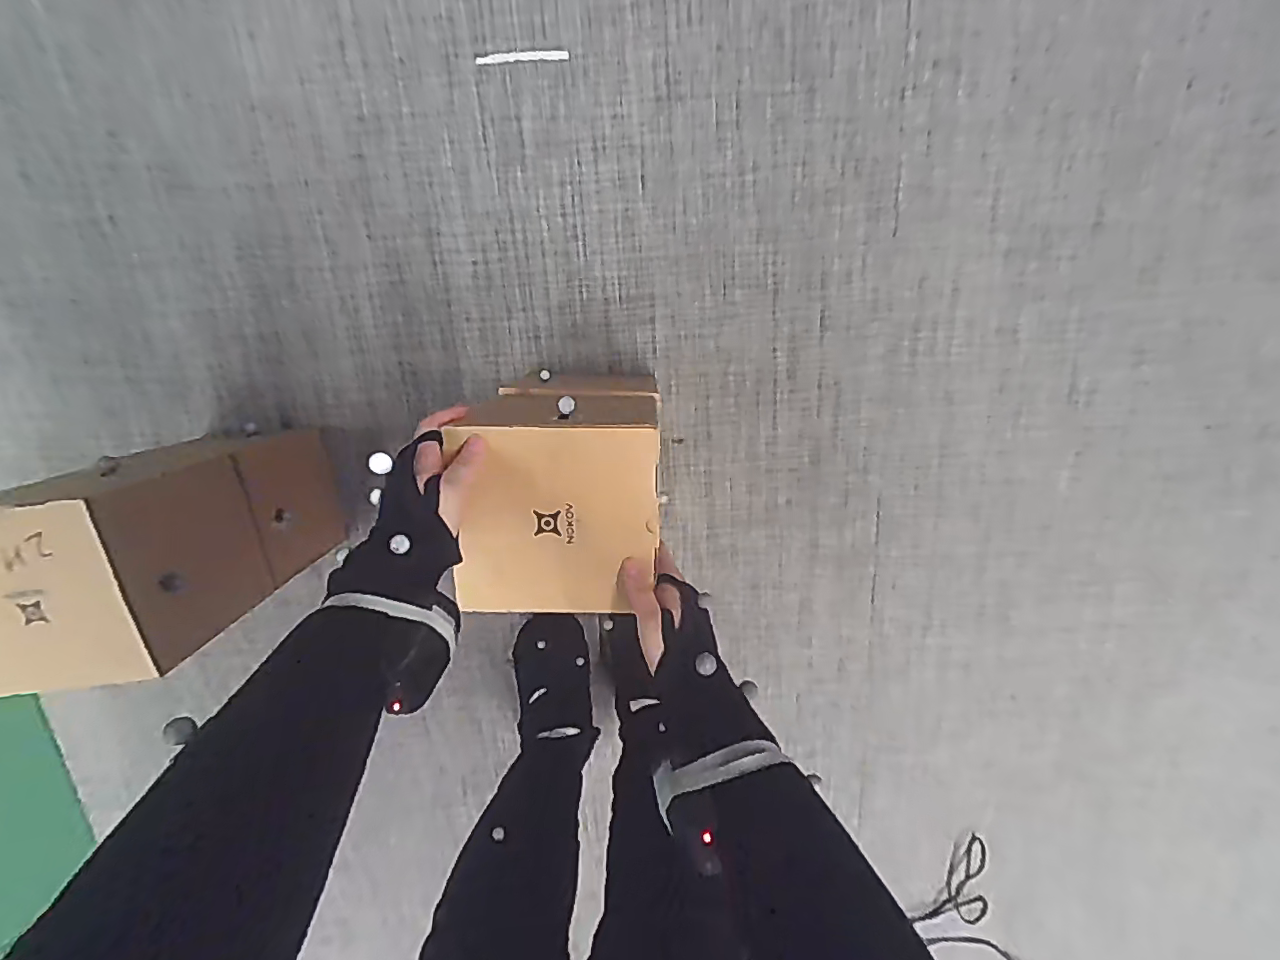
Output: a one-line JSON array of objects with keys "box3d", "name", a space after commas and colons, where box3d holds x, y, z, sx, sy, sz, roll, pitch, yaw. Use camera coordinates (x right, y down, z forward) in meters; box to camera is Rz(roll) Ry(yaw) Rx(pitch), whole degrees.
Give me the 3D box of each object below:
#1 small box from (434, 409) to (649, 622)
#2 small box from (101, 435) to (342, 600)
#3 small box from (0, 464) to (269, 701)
[{"box3d": [-0.080, 0.024, 0.533, 0.179, 0.176, 0.168, 0, 105, 0], "name": "small box"}, {"box3d": [-0.525, 0.047, 0.712, 0.168, 0.176, 0.179, -5, 105, 1], "name": "small box"}, {"box3d": [-0.527, 0.093, 0.554, 0.168, 0.176, 0.179, -6, 105, 1], "name": "small box"}]
